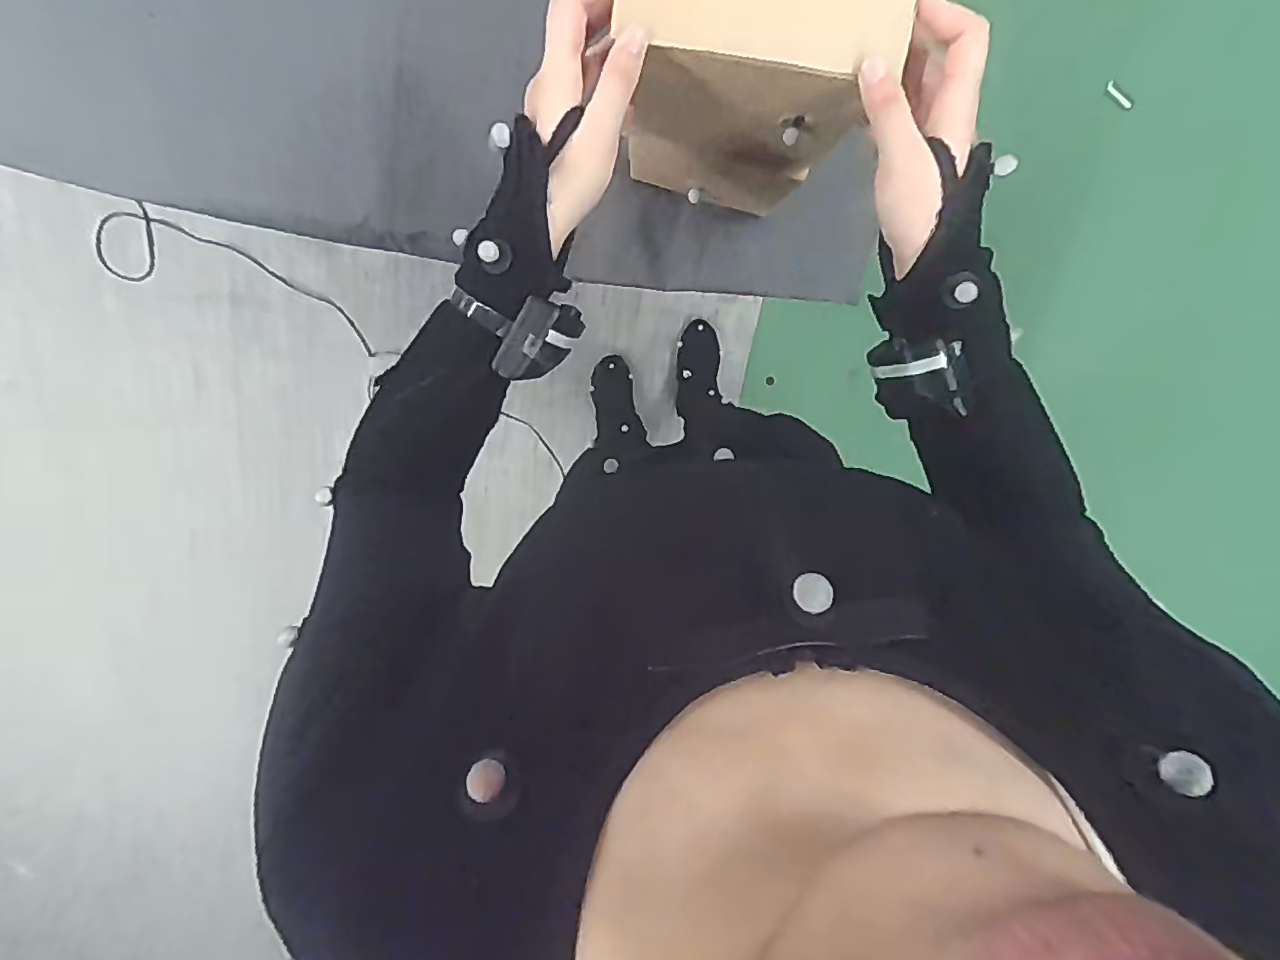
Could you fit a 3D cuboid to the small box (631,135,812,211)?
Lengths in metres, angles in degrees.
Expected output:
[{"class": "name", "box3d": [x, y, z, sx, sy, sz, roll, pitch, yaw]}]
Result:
[{"class": "small box", "box3d": [0.086, -0.384, 0.519, 0.168, 0.176, 0.179, 15, 107, -3]}]

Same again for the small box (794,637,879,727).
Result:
[{"class": "small box", "box3d": [0.569, 0.598, 1.599, 0.168, 0.176, 0.179, 13, 108, -2]}]

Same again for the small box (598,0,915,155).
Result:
[{"class": "small box", "box3d": [0.074, -0.339, 0.362, 0.179, 0.176, 0.168, 7, 105, 0]}]
